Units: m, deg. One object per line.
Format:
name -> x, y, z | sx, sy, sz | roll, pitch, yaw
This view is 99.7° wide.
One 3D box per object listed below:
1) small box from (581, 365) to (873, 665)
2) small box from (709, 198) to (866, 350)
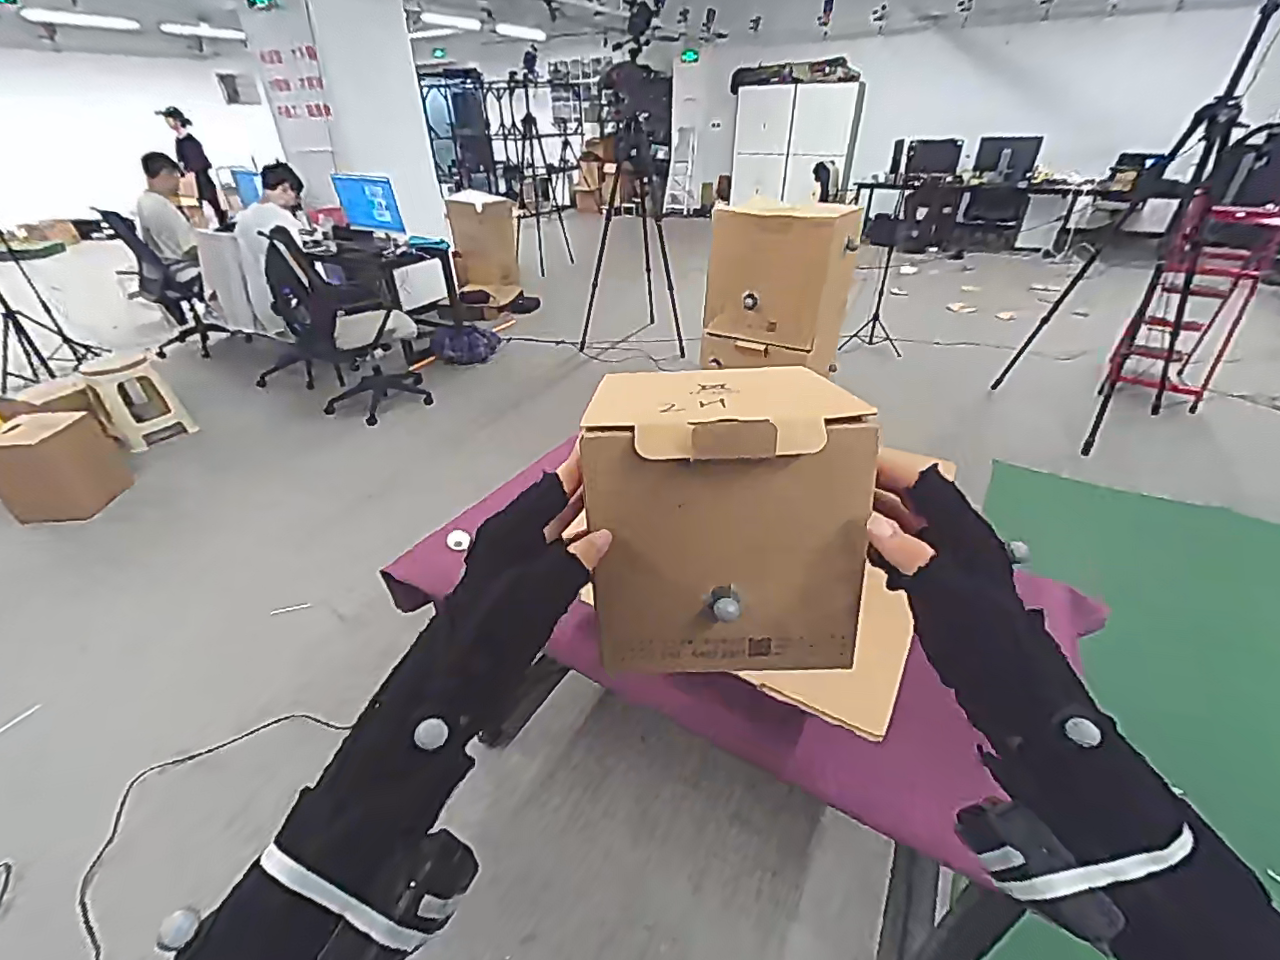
small box -> 0.055, 0.014, 0.406 | 0.168, 0.176, 0.179 | -2, 22, 3
small box -> 0.208, -0.304, 0.785 | 0.168, 0.176, 0.179 | 18, 37, 26
